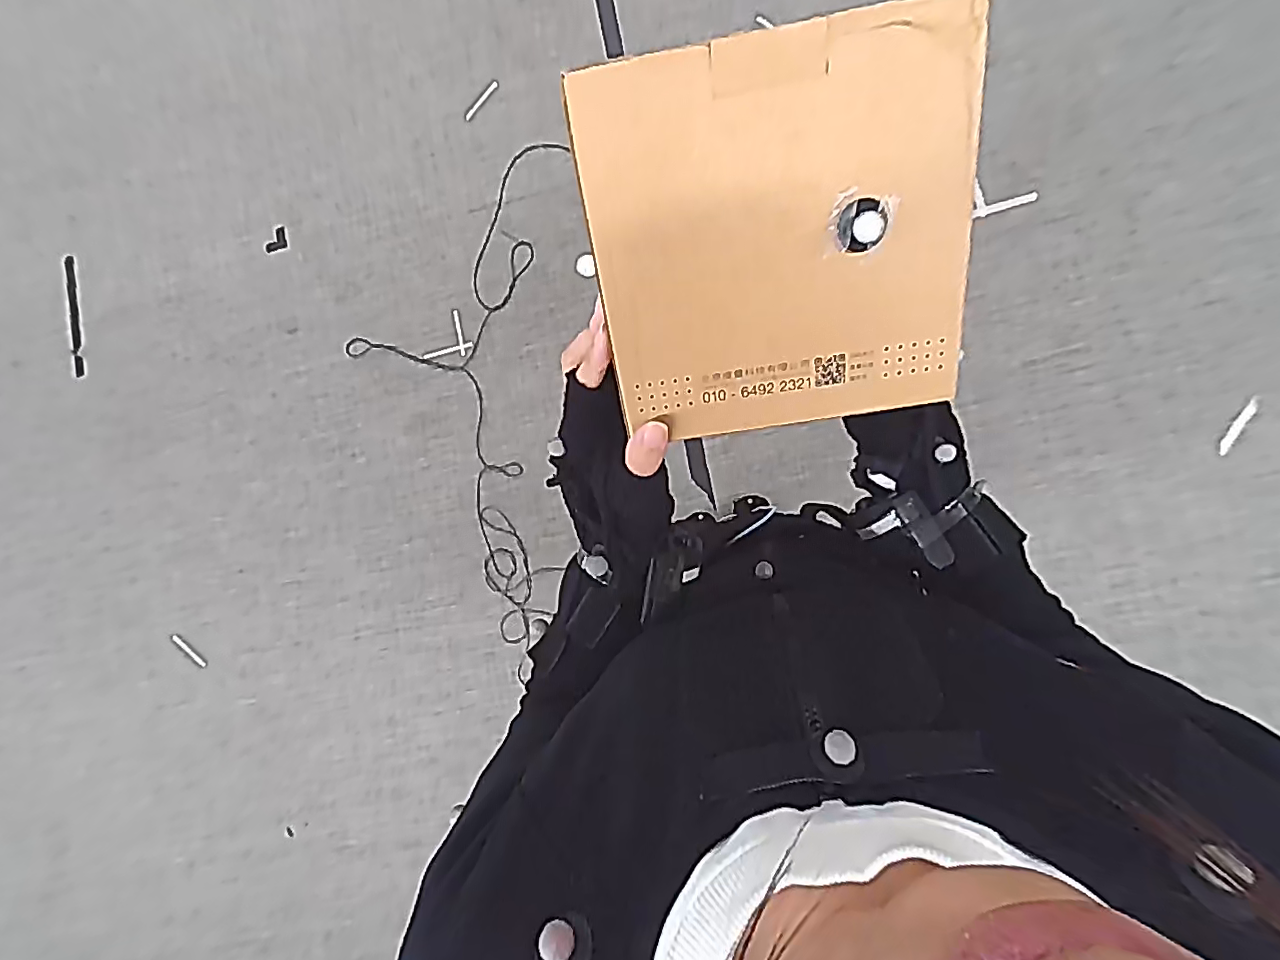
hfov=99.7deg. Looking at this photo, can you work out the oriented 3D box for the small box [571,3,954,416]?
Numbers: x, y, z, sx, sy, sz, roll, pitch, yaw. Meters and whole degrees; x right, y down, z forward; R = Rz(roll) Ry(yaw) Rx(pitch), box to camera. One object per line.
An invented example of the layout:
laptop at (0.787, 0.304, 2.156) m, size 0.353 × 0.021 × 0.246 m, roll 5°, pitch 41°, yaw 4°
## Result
small box at (0.067, -0.145, 0.335) m, size 0.168 × 0.179 × 0.176 m, roll -7°, pitch 116°, yaw 7°
